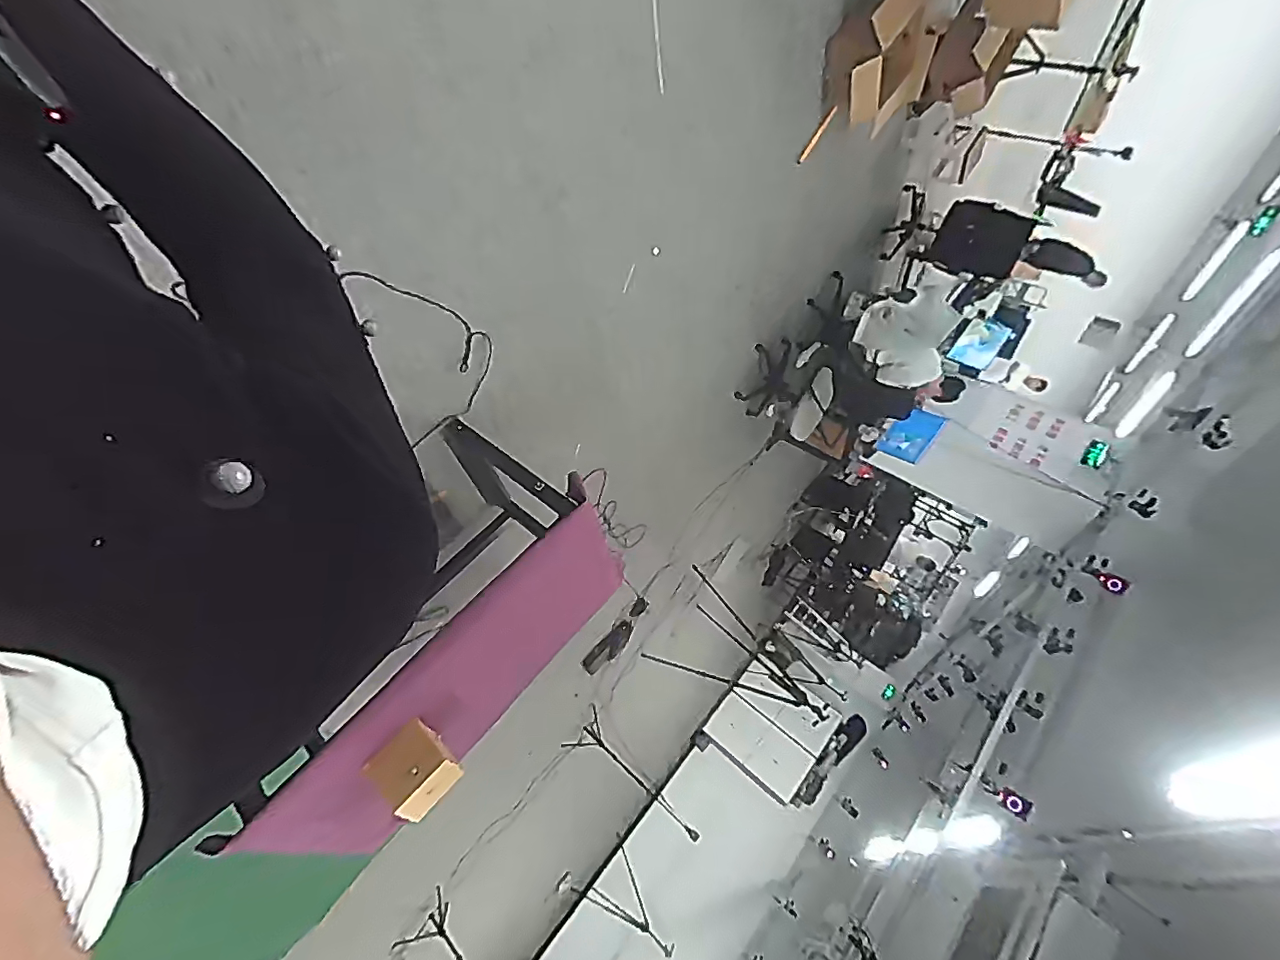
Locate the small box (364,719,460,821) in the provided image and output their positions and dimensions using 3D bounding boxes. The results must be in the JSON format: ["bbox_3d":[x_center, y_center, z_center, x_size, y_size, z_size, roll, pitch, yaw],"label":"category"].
[{"bbox_3d":[-0.661,0.834,1.558,0.179,0.176,0.168,-45,150,-28],"label":"small box"}]
